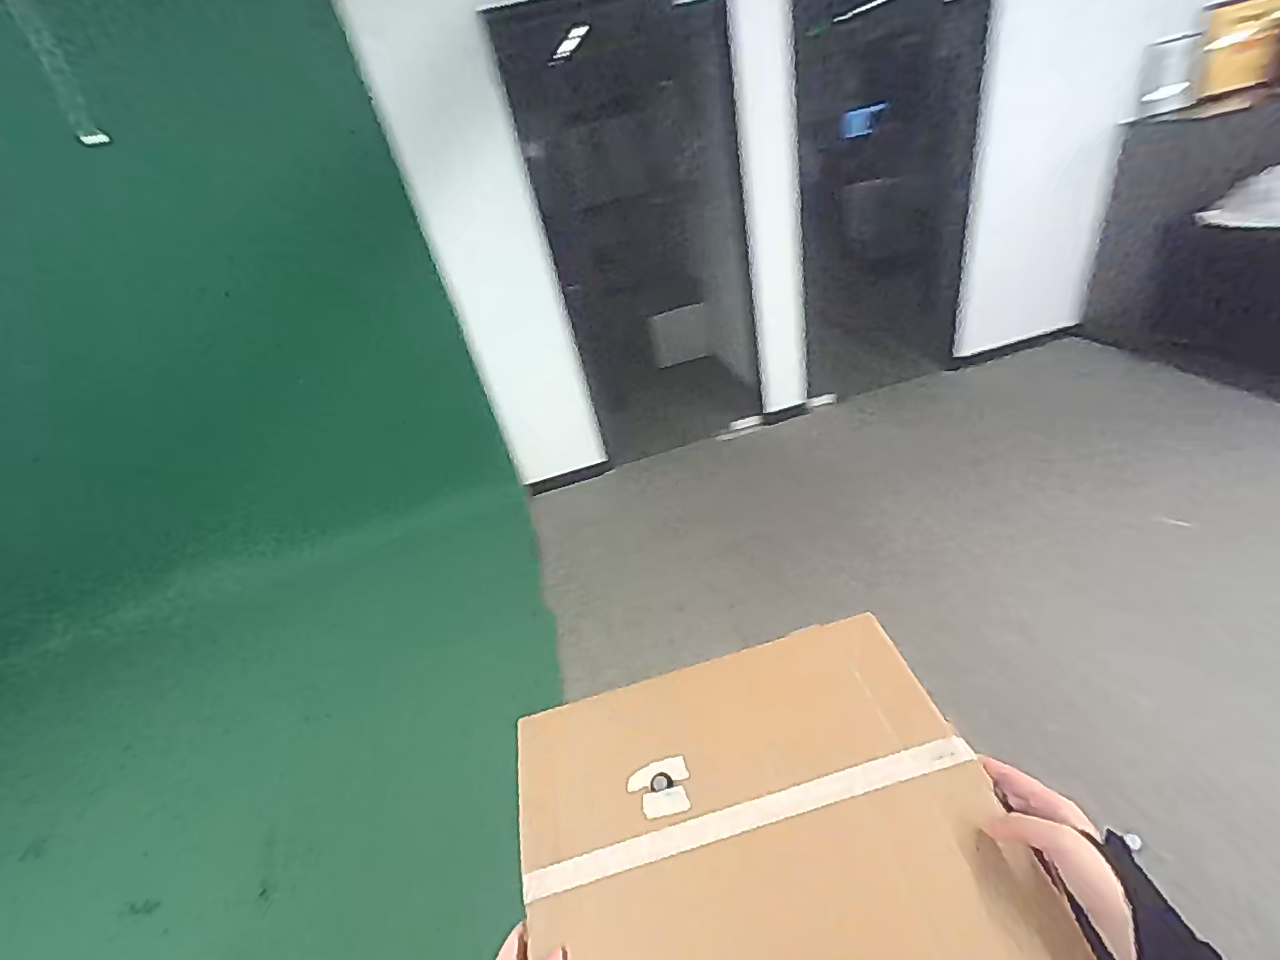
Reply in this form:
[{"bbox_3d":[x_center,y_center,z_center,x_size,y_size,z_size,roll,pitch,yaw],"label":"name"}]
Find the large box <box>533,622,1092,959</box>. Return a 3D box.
[{"bbox_3d":[0.135,0.416,0.578,0.408,0.320,0.320,-17,40,0],"label":"large box"}]
